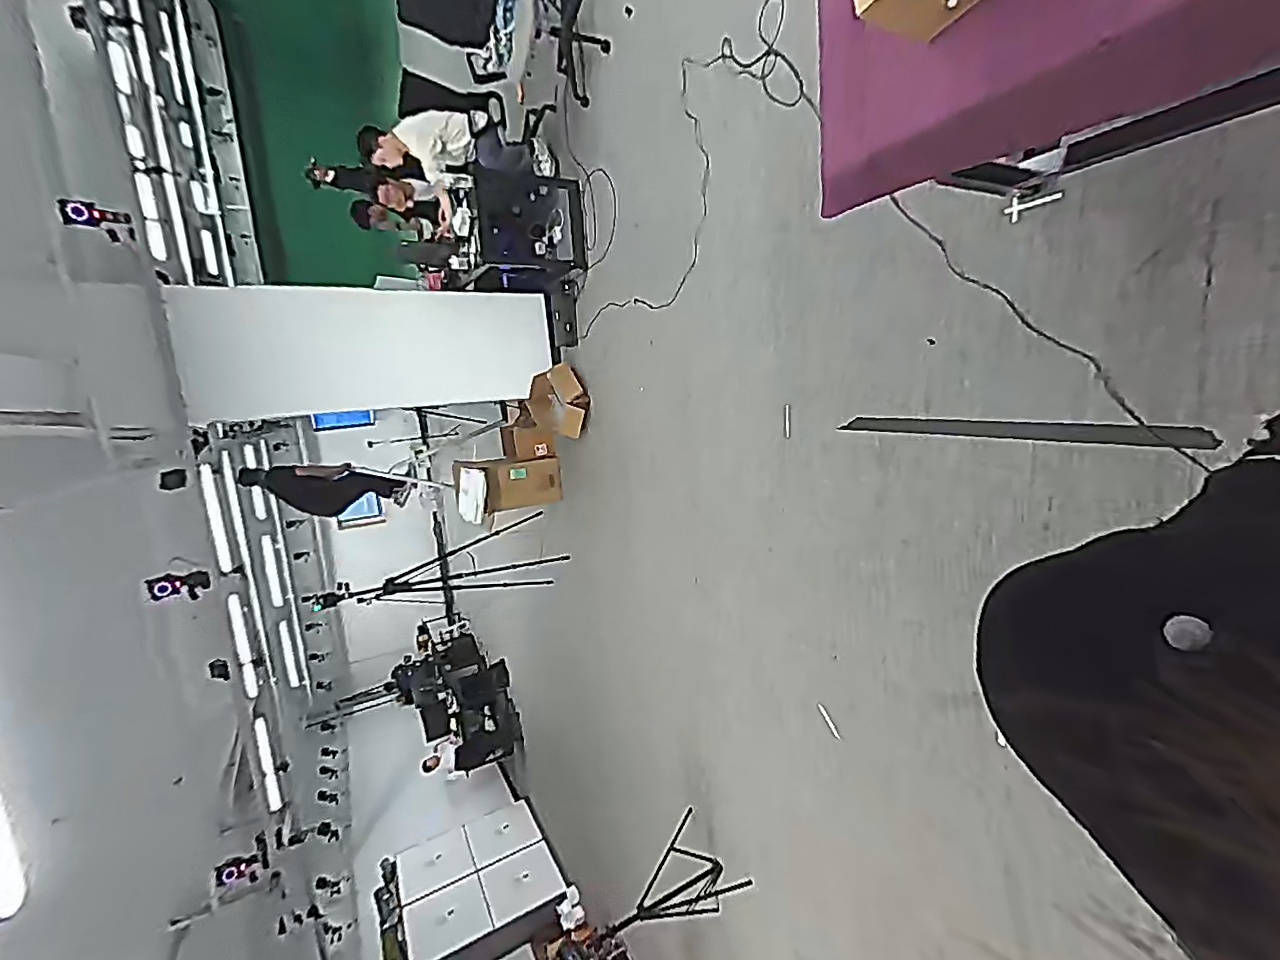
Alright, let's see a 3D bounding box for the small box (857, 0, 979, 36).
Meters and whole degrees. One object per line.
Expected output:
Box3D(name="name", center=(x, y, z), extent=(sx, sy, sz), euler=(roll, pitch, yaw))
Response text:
Box3D(name="small box", center=(0.433, -0.807, 0.789), extent=(0.168, 0.176, 0.179), euler=(-4, 94, 62))
